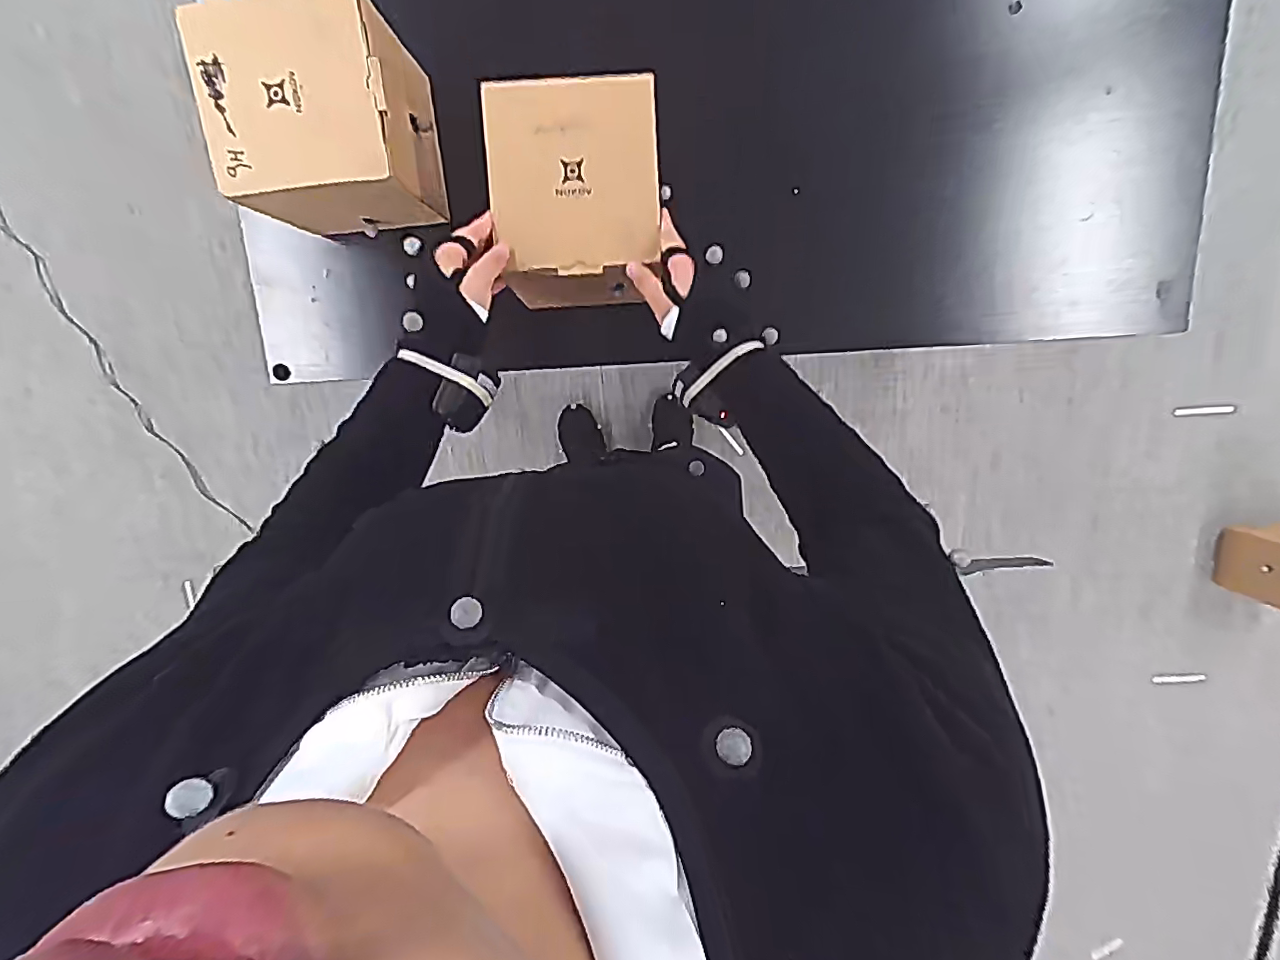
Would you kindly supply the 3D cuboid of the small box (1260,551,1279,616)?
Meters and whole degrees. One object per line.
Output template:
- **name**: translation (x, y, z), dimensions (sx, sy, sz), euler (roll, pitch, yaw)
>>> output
- **small box**: translation (1.688, 0.268, 1.303), dimensions (0.179, 0.176, 0.168), euler (-3, 102, 2)

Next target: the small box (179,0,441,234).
- **small box**: translation (-0.333, -0.381, 0.591), dimensions (0.179, 0.176, 0.168), euler (-6, 101, 0)

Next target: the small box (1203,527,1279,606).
- **small box**: translation (1.695, 0.230, 1.463), dimensions (0.168, 0.176, 0.179), euler (-3, 102, 2)

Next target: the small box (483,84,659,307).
- **small box**: translation (-0.066, -0.297, 0.603), dimensions (0.168, 0.176, 0.179), euler (-4, 96, -2)
